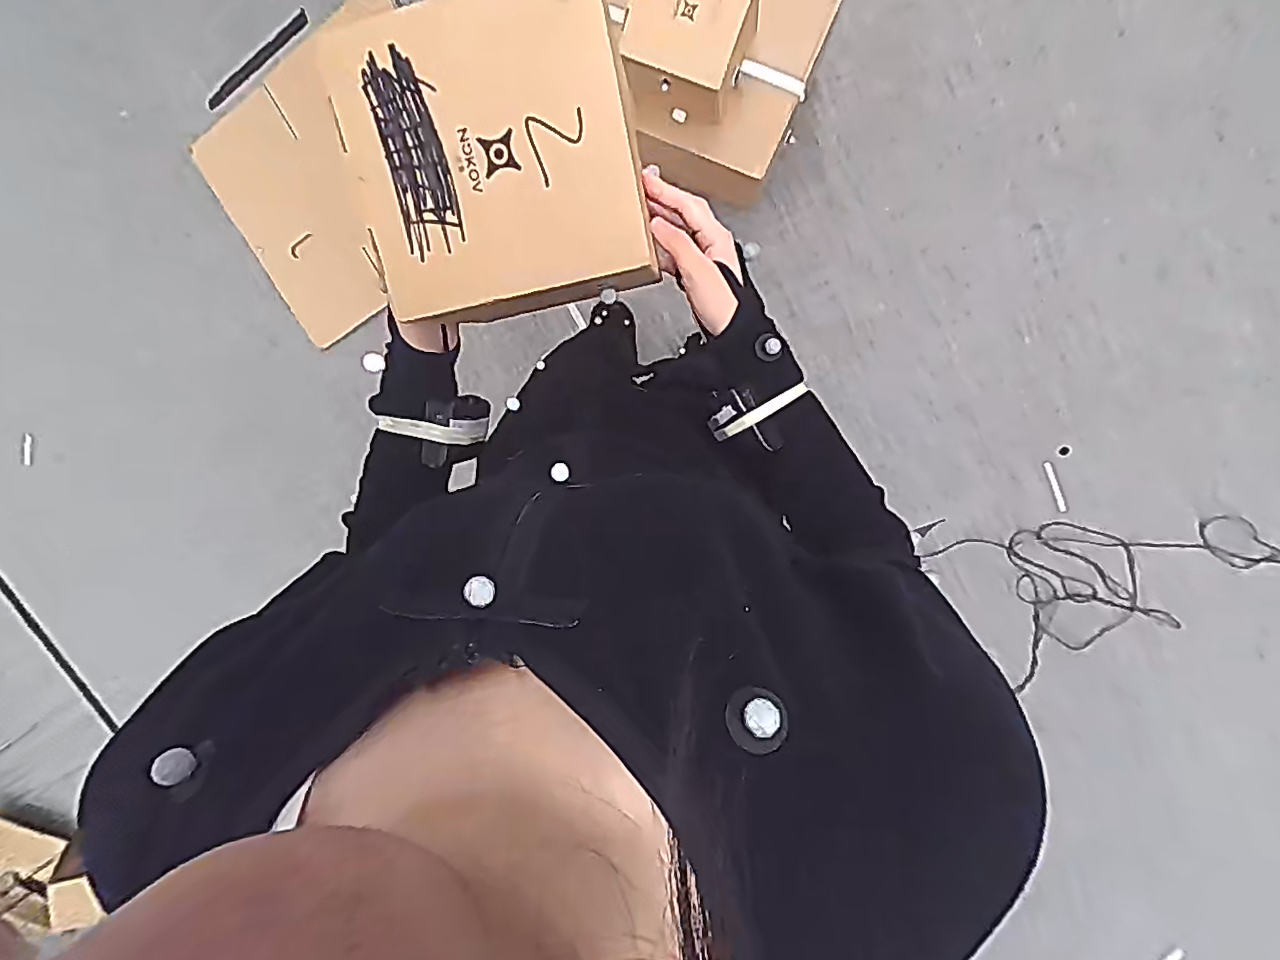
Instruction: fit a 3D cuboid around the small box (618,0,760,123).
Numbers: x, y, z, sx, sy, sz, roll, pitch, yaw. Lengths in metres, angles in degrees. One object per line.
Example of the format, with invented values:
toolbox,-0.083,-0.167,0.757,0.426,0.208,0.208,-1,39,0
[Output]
small box,0.084,-0.720,0.884,0.179,0.176,0.168,22,110,2
